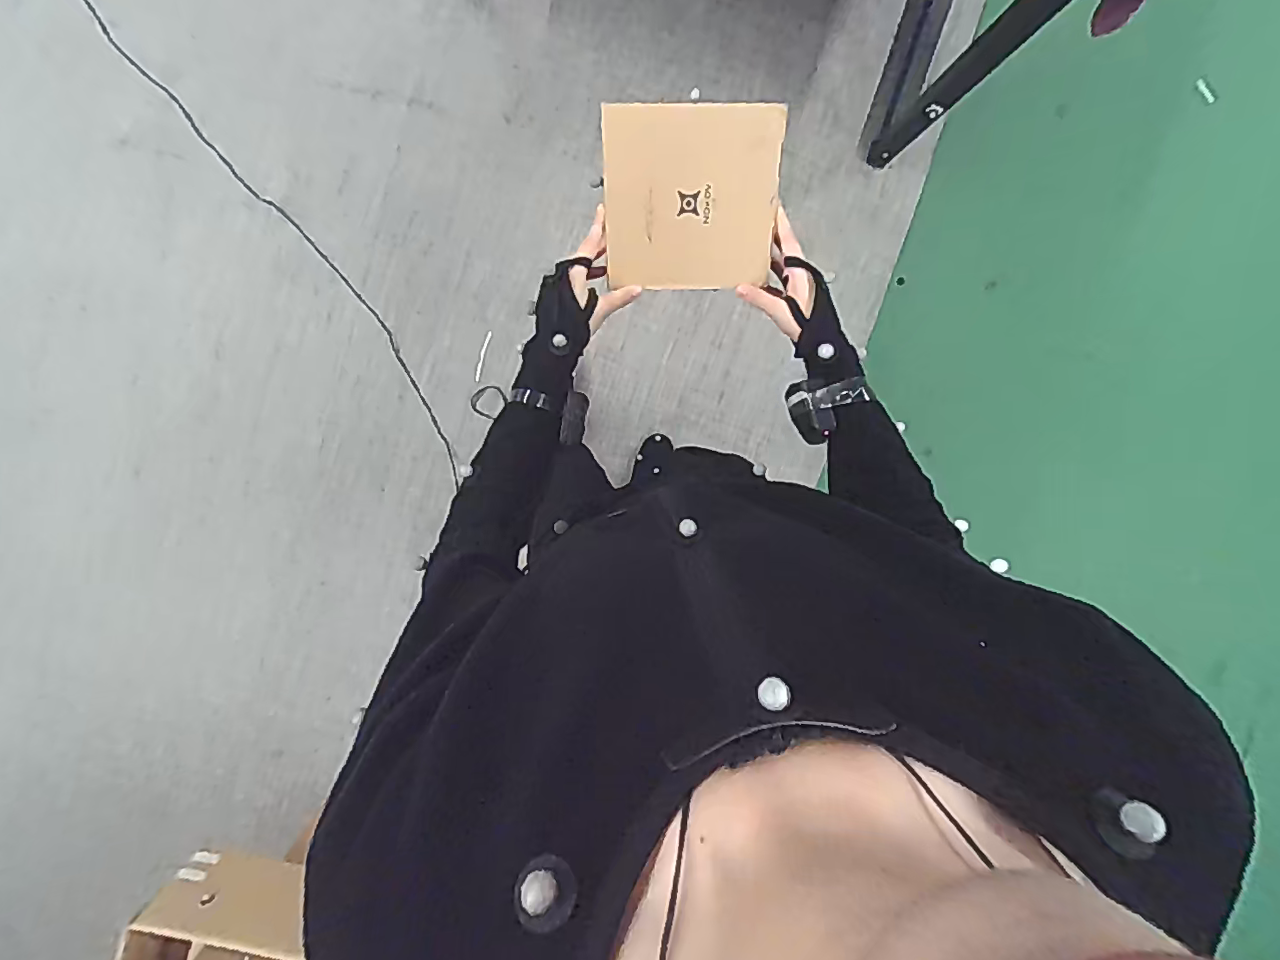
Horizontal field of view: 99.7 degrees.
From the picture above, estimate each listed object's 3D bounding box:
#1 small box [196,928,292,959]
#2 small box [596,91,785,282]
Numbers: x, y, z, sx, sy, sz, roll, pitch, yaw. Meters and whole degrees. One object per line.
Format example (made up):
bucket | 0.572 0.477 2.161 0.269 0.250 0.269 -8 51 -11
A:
small box | -0.814 1.026 1.042 0.168 0.176 0.179 23 93 -5
small box | 0.041 -0.318 0.596 0.179 0.176 0.168 -1 119 -2
